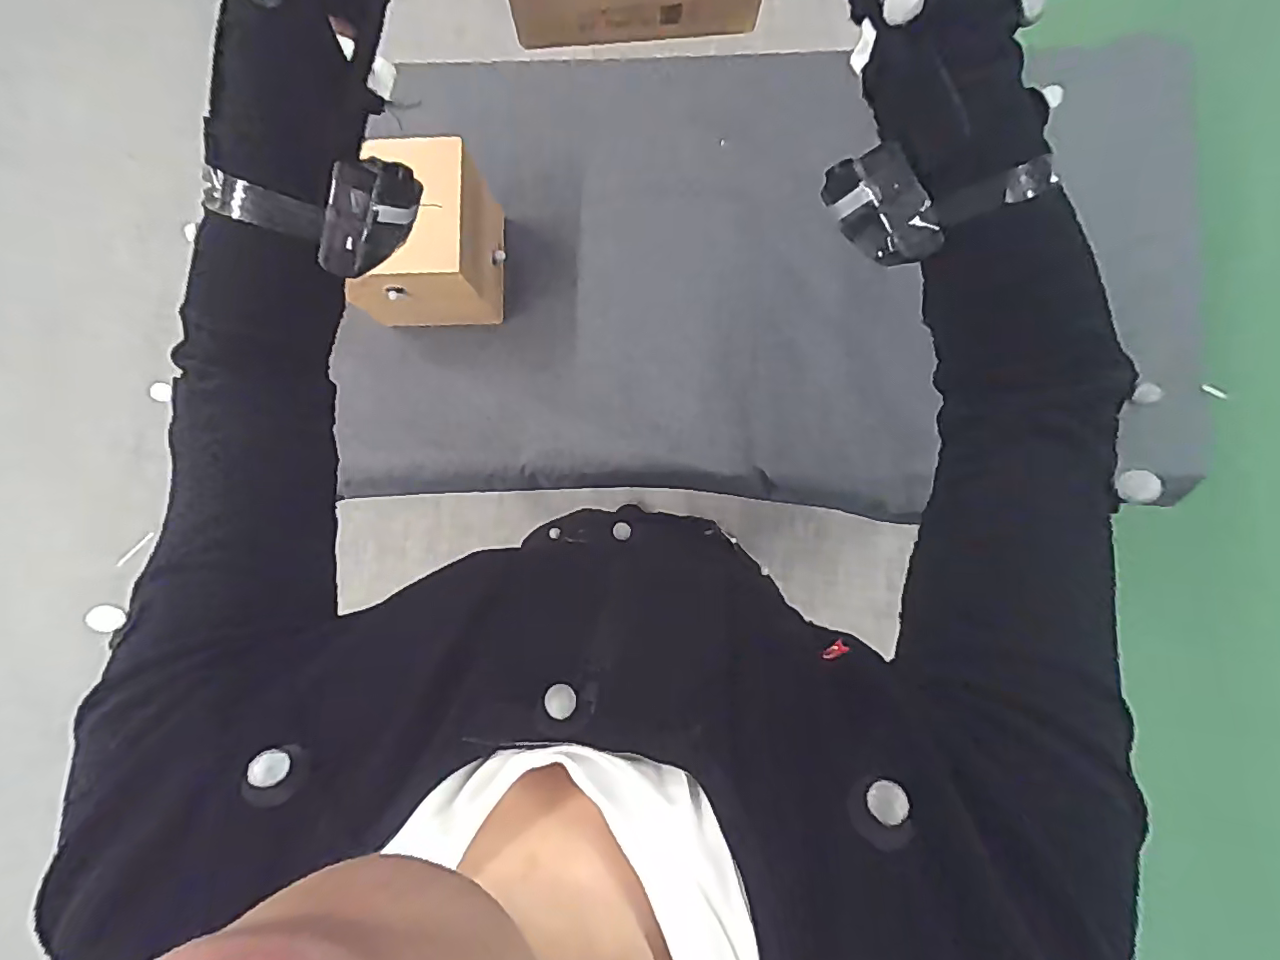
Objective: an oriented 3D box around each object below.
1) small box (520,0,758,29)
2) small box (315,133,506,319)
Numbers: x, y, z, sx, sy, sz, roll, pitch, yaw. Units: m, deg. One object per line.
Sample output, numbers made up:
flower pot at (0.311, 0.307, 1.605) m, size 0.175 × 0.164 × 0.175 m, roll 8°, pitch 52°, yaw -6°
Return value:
small box at (-0.006, -0.393, 0.297) m, size 0.168 × 0.176 × 0.179 m, roll -3°, pitch 89°, yaw 1°
small box at (-0.288, -0.319, 0.709) m, size 0.179 × 0.176 × 0.168 m, roll 0°, pitch 87°, yaw 2°
